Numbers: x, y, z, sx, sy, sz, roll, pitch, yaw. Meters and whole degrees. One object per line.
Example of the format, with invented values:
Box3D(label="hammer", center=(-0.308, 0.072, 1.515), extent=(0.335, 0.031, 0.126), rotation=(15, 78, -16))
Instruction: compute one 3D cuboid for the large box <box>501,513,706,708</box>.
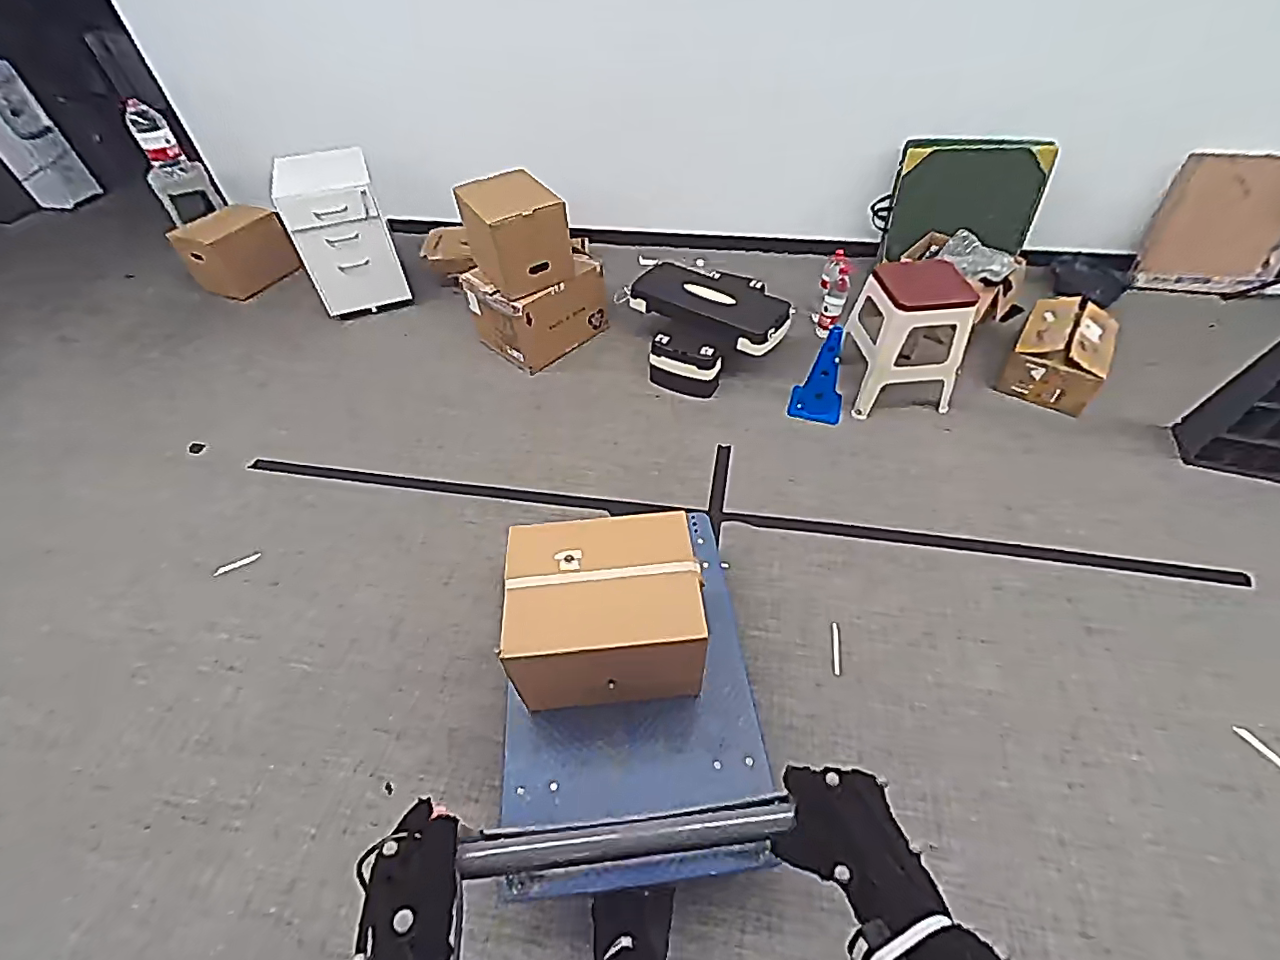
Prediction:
Box3D(label="large box", center=(-0.077, 0.306, 1.249), extent=(0.408, 0.320, 0.320), rotation=(-6, 49, -2))
